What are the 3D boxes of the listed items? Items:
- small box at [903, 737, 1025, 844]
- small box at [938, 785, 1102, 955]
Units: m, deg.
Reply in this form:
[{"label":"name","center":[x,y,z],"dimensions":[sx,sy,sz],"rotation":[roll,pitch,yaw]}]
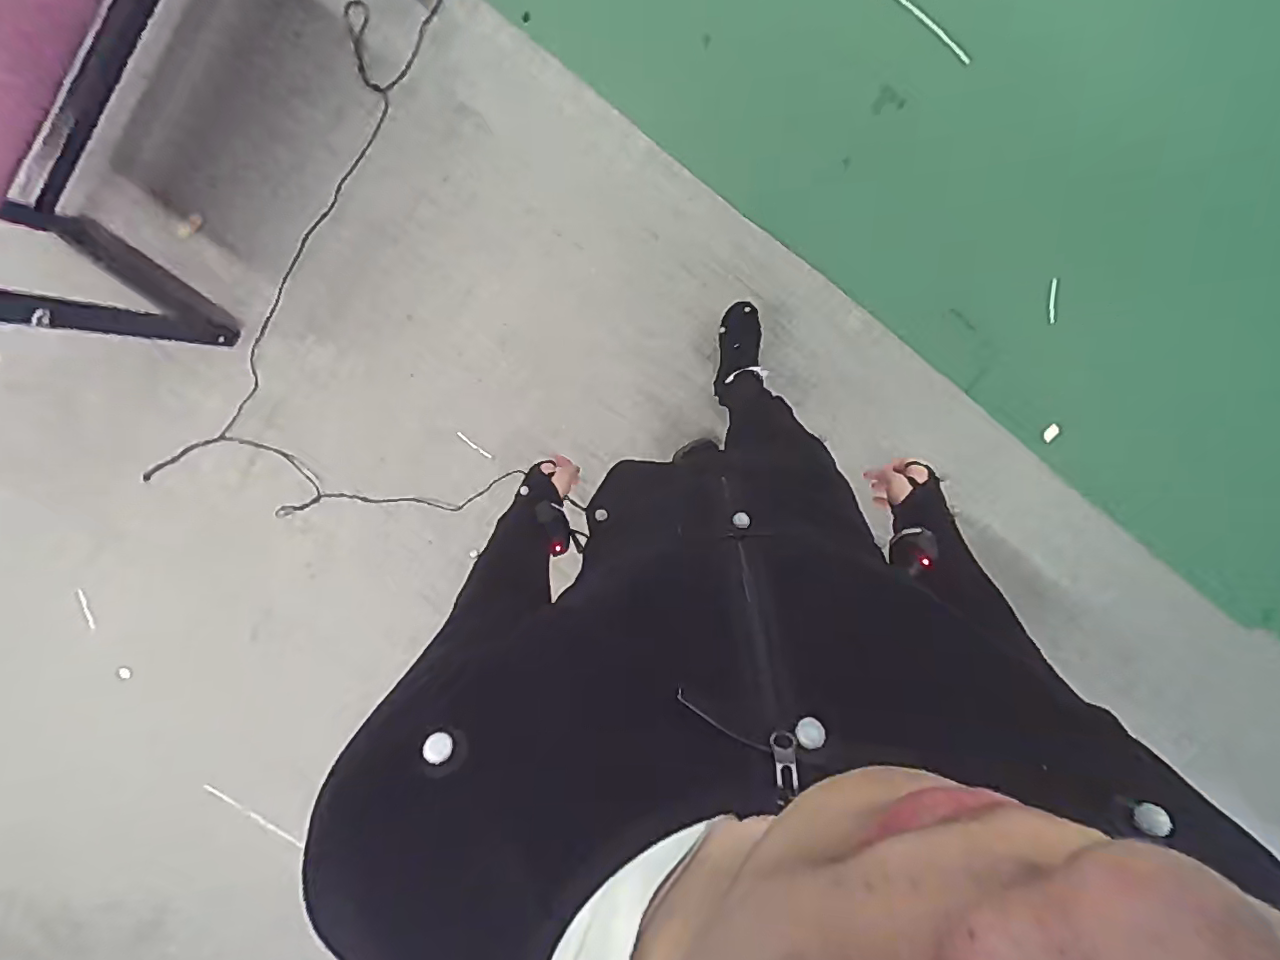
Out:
[{"label":"small box","center":[0.737,0.737,1.234],"dimensions":[0.168,0.176,0.179],"rotation":[40,98,-5]},{"label":"small box","center":[0.732,0.761,1.071],"dimensions":[0.168,0.176,0.179],"rotation":[38,97,-5]}]
